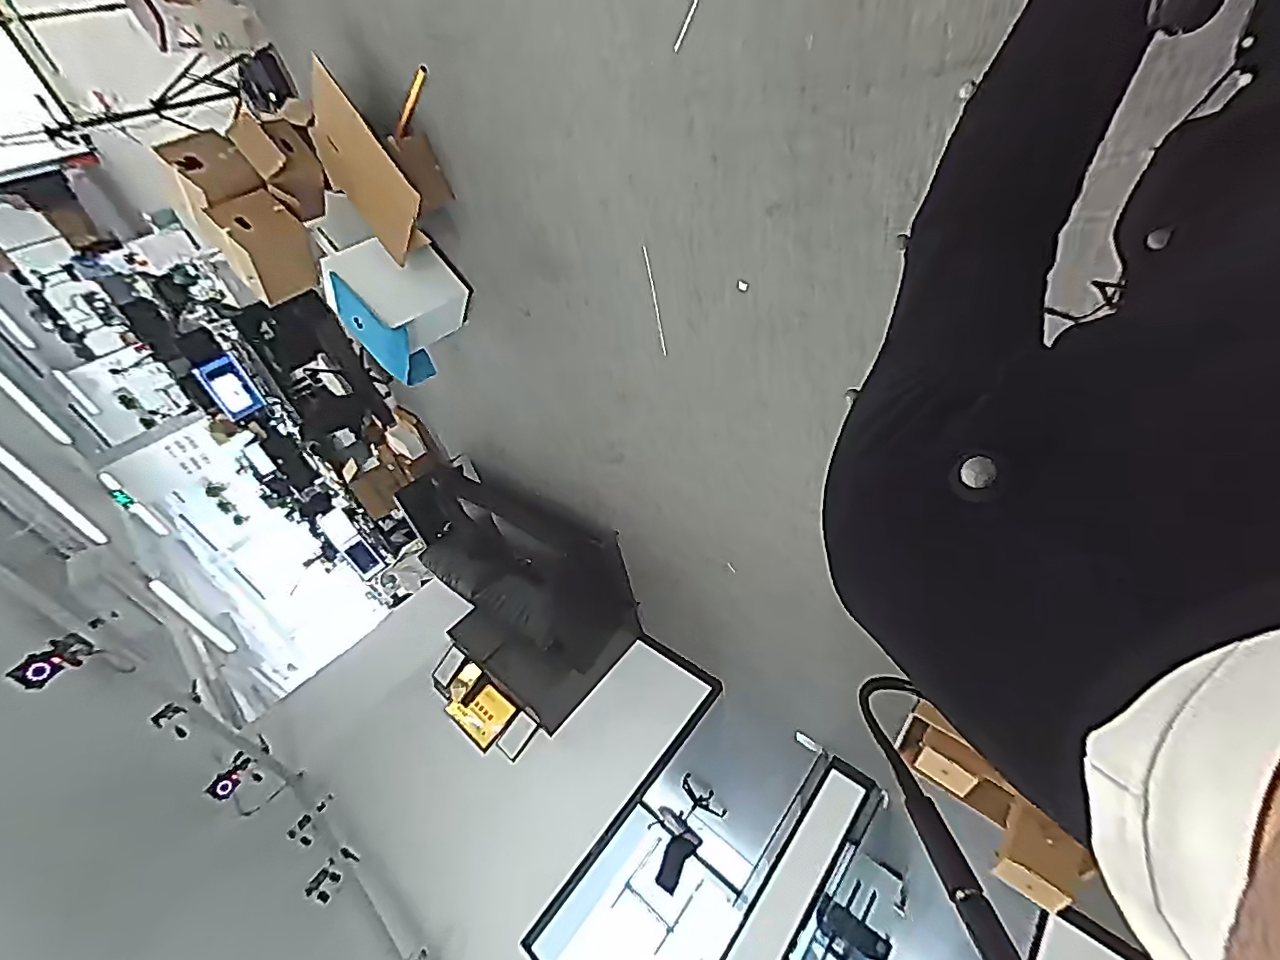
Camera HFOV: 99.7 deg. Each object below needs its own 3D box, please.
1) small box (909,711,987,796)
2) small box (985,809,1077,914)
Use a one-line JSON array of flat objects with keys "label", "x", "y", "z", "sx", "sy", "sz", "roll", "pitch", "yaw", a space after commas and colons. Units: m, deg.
[{"label": "small box", "x": 1.062, "y": 0.938, "z": 1.861, "sx": 0.168, "sy": 0.176, "sz": 0.179, "roll": 28, "pitch": 143, "yaw": 32}, {"label": "small box", "x": 1.170, "y": 1.136, "z": 1.616, "sx": 0.168, "sy": 0.176, "sz": 0.179, "roll": 24, "pitch": 141, "yaw": 35}]
